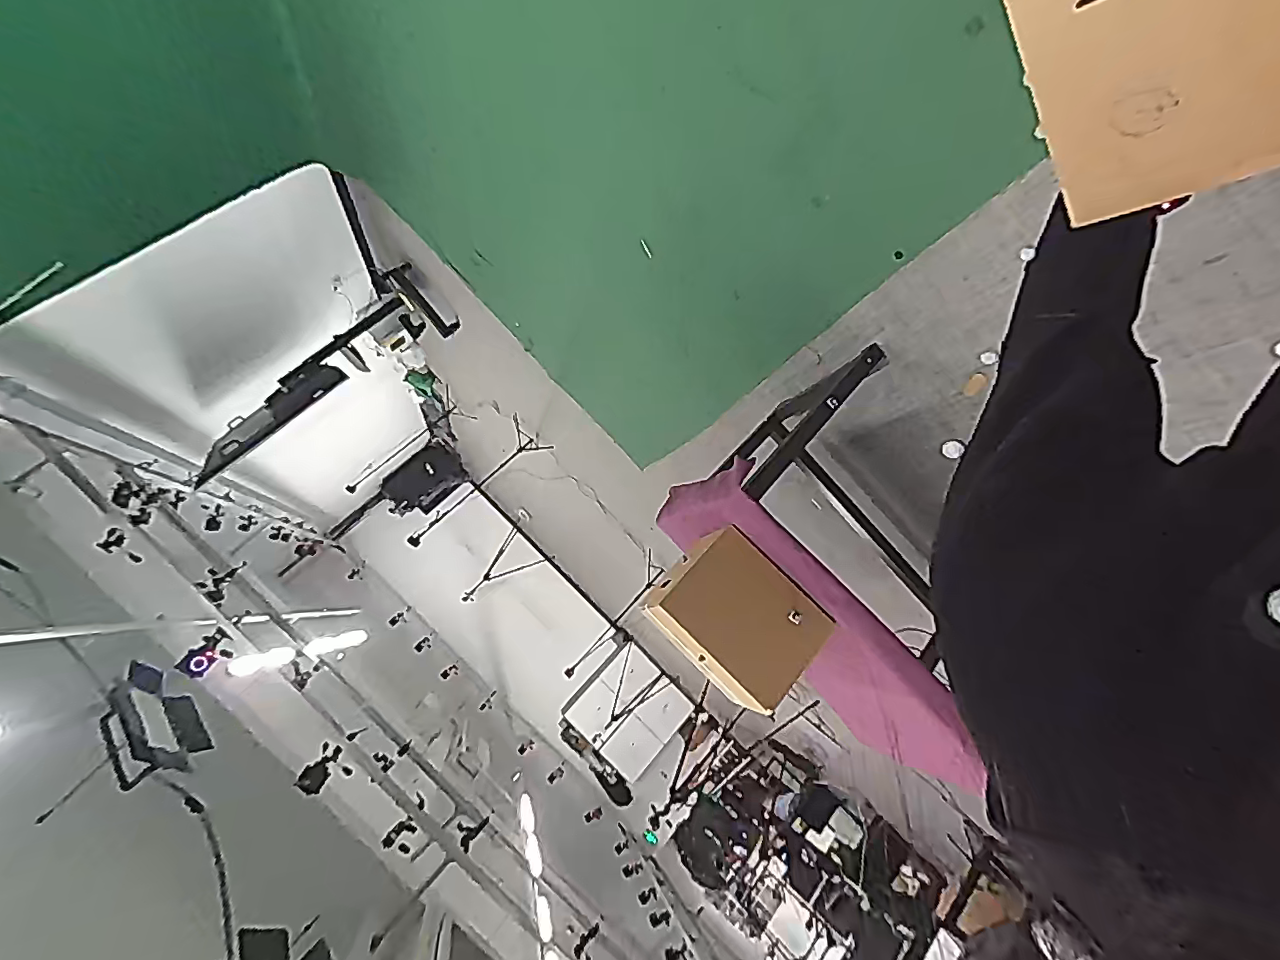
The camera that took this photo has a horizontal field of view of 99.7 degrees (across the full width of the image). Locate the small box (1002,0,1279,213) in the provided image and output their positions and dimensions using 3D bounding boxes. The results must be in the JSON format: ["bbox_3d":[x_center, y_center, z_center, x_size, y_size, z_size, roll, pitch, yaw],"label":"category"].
[{"bbox_3d":[0.249,-0.234,0.176,0.168,0.176,0.179,52,158,-21],"label":"small box"}]
